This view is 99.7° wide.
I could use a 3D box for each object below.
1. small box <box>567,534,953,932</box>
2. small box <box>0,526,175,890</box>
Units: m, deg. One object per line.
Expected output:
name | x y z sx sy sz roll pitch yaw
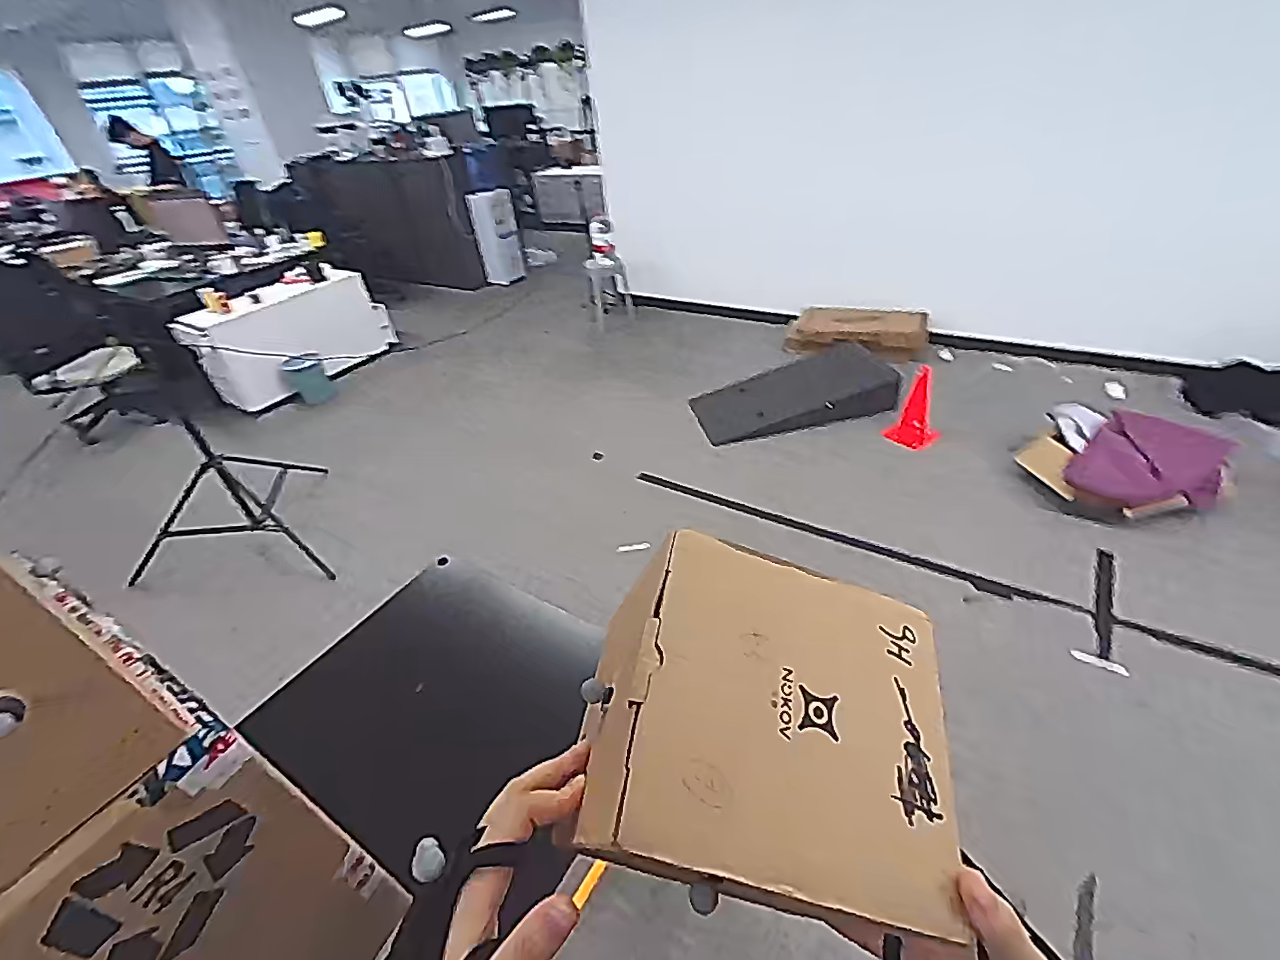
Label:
small box | 0.062 0.166 0.357 0.179 0.176 0.168 19 53 -4
small box | -0.400 0.124 0.283 0.168 0.176 0.179 15 42 28
